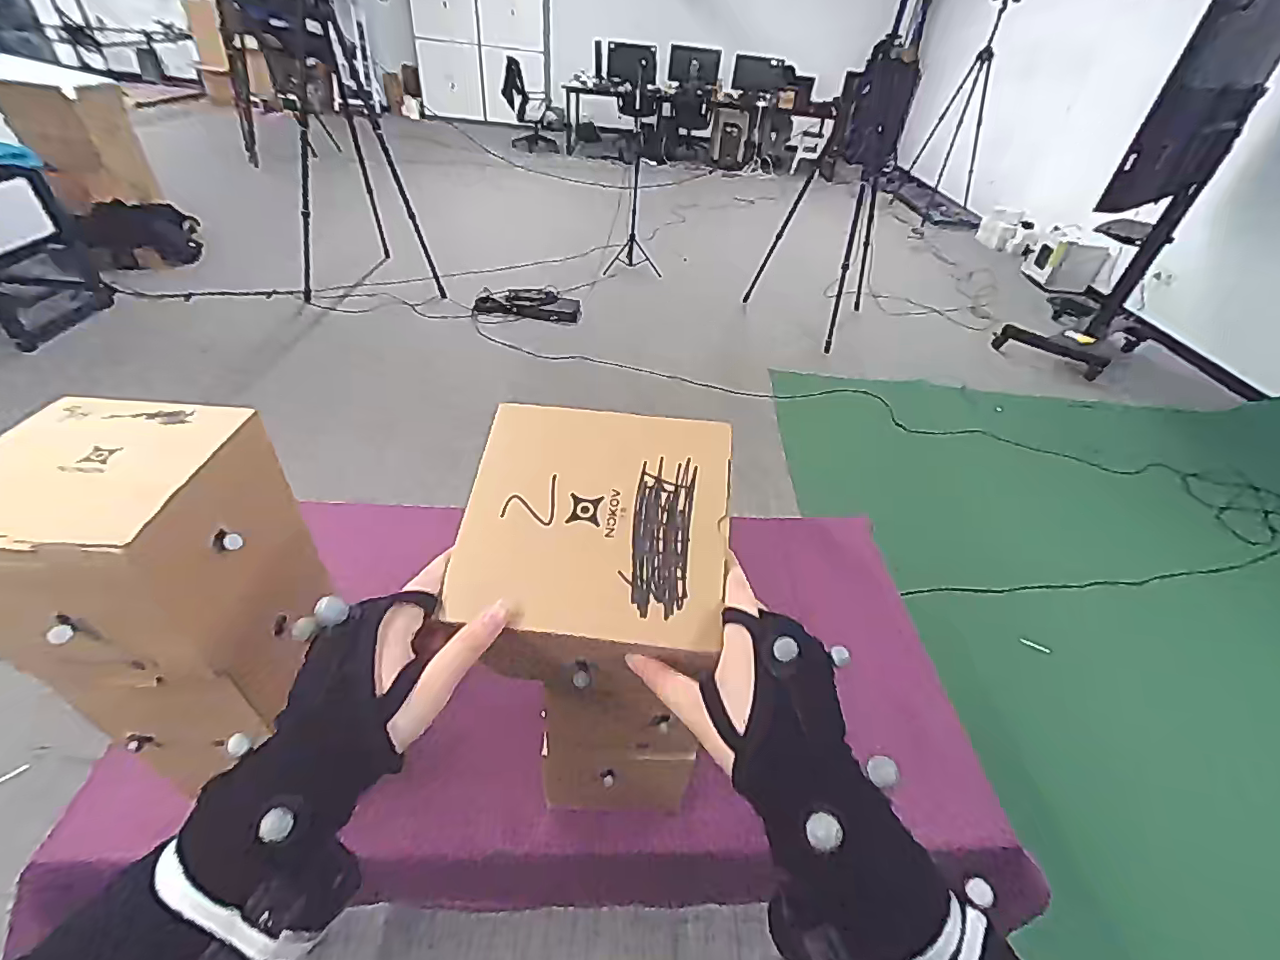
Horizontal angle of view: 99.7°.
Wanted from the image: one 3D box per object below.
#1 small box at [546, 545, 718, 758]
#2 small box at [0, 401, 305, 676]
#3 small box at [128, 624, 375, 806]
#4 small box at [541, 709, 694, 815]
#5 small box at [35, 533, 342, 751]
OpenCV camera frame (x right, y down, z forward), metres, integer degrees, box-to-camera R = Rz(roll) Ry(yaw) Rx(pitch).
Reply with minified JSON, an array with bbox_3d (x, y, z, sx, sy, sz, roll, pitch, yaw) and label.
[{"bbox_3d":[-0.014,0.197,0.616,0.168,0.176,0.179,3,40,-5],"label":"small box"},{"bbox_3d":[-0.431,0.053,0.475,0.168,0.176,0.179,4,41,-5],"label":"small box"},{"bbox_3d":[-0.468,0.298,0.690,0.179,0.176,0.168,4,40,-5],"label":"small box"},{"bbox_3d":[-0.029,0.324,0.717,0.179,0.176,0.168,4,41,-3],"label":"small box"},{"bbox_3d":[-0.452,0.173,0.586,0.168,0.176,0.179,4,39,-5],"label":"small box"}]
